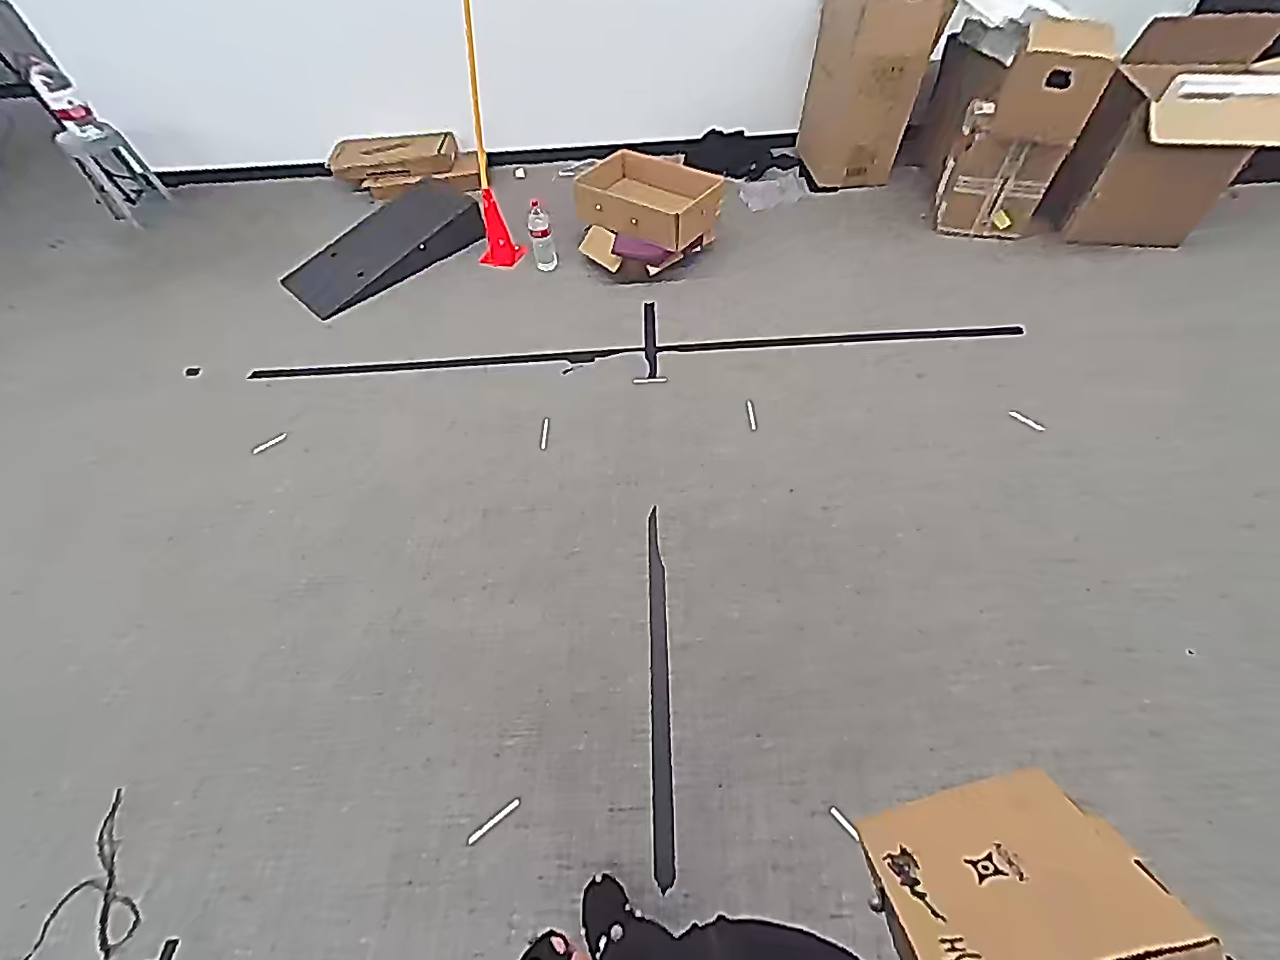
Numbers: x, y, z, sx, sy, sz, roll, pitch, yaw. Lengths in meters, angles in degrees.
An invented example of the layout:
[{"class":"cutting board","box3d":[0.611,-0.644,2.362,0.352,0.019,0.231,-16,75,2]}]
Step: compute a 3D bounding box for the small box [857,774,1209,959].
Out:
[{"class":"small box","box3d":[0.309,0.386,0.440,0.179,0.168,0.176,-18,95,4]}]
